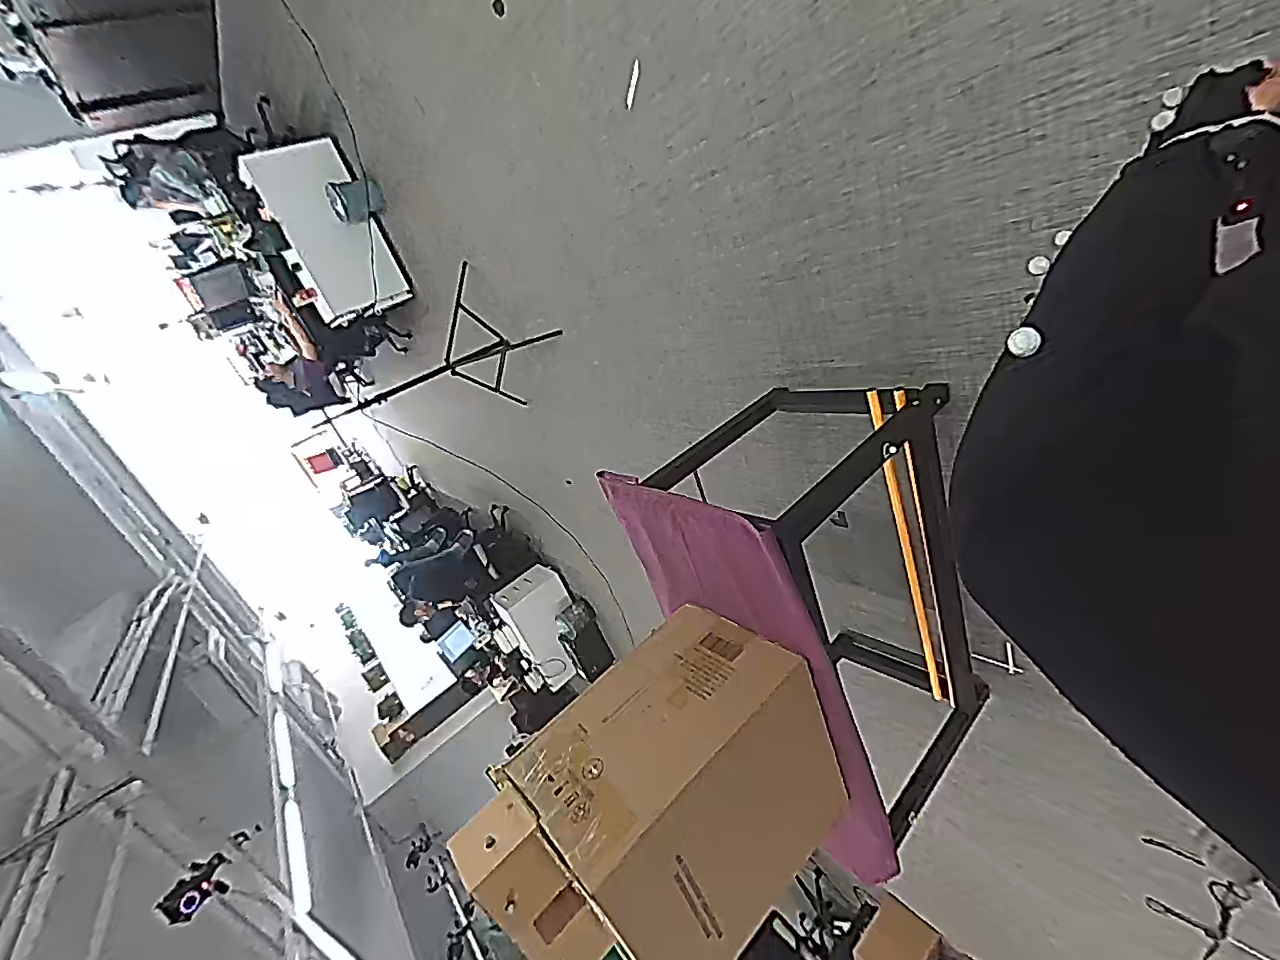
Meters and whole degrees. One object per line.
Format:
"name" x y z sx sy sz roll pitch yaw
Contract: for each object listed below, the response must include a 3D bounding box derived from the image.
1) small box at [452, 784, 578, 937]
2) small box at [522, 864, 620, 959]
"small box" -0.266 0.803 1.163 0.168 0.176 0.179 6 128 56
"small box" -0.172 1.012 1.248 0.168 0.176 0.179 9 127 52
